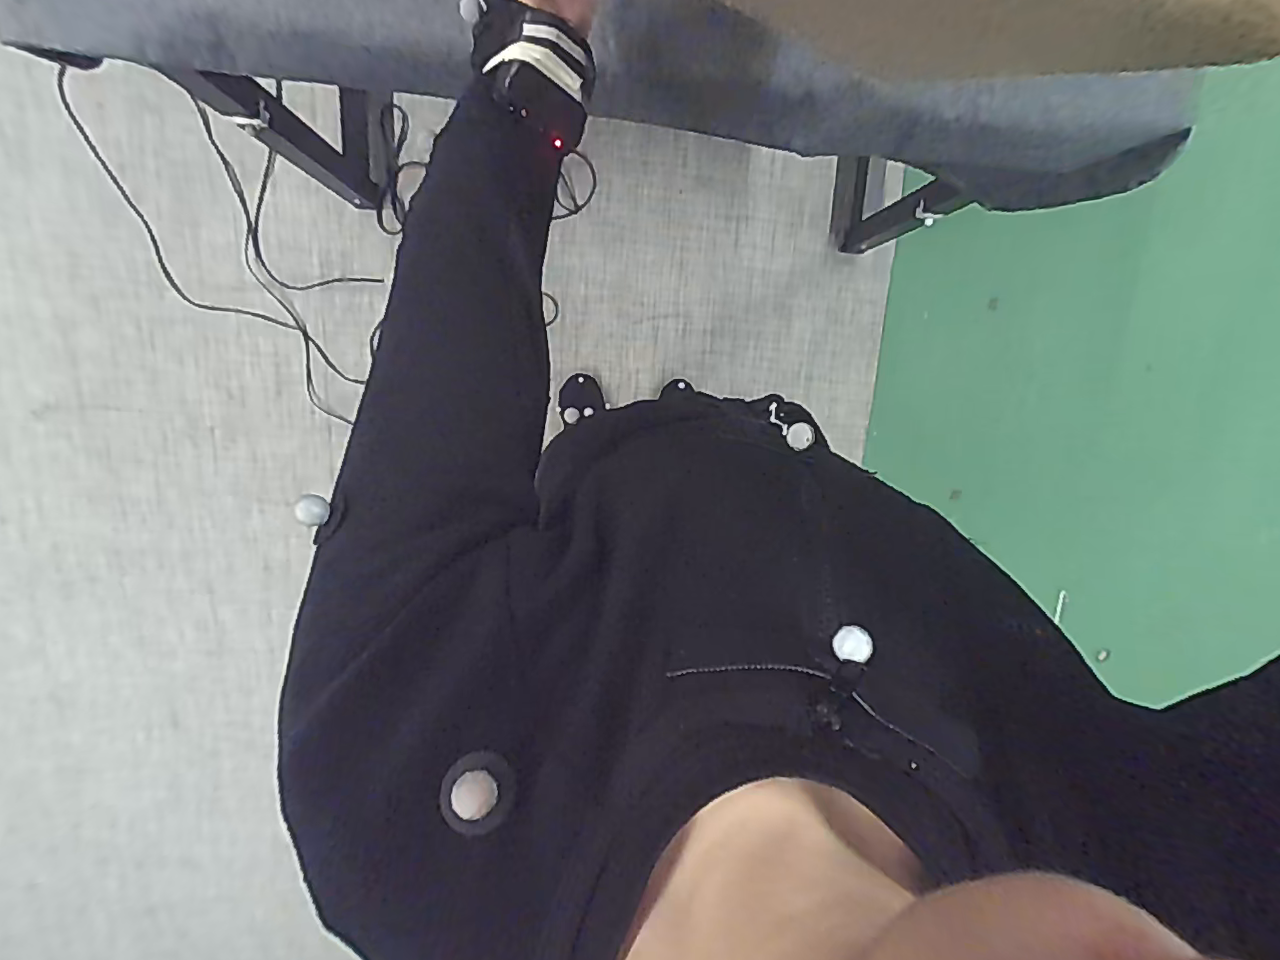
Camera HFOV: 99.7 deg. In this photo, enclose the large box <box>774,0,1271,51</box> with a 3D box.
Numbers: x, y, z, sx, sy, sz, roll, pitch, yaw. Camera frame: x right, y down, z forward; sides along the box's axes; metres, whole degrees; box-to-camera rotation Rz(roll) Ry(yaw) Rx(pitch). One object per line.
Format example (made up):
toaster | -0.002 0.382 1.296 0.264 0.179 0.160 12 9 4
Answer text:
large box | 0.102 -0.411 0.205 0.320 0.408 0.320 18 126 -9
